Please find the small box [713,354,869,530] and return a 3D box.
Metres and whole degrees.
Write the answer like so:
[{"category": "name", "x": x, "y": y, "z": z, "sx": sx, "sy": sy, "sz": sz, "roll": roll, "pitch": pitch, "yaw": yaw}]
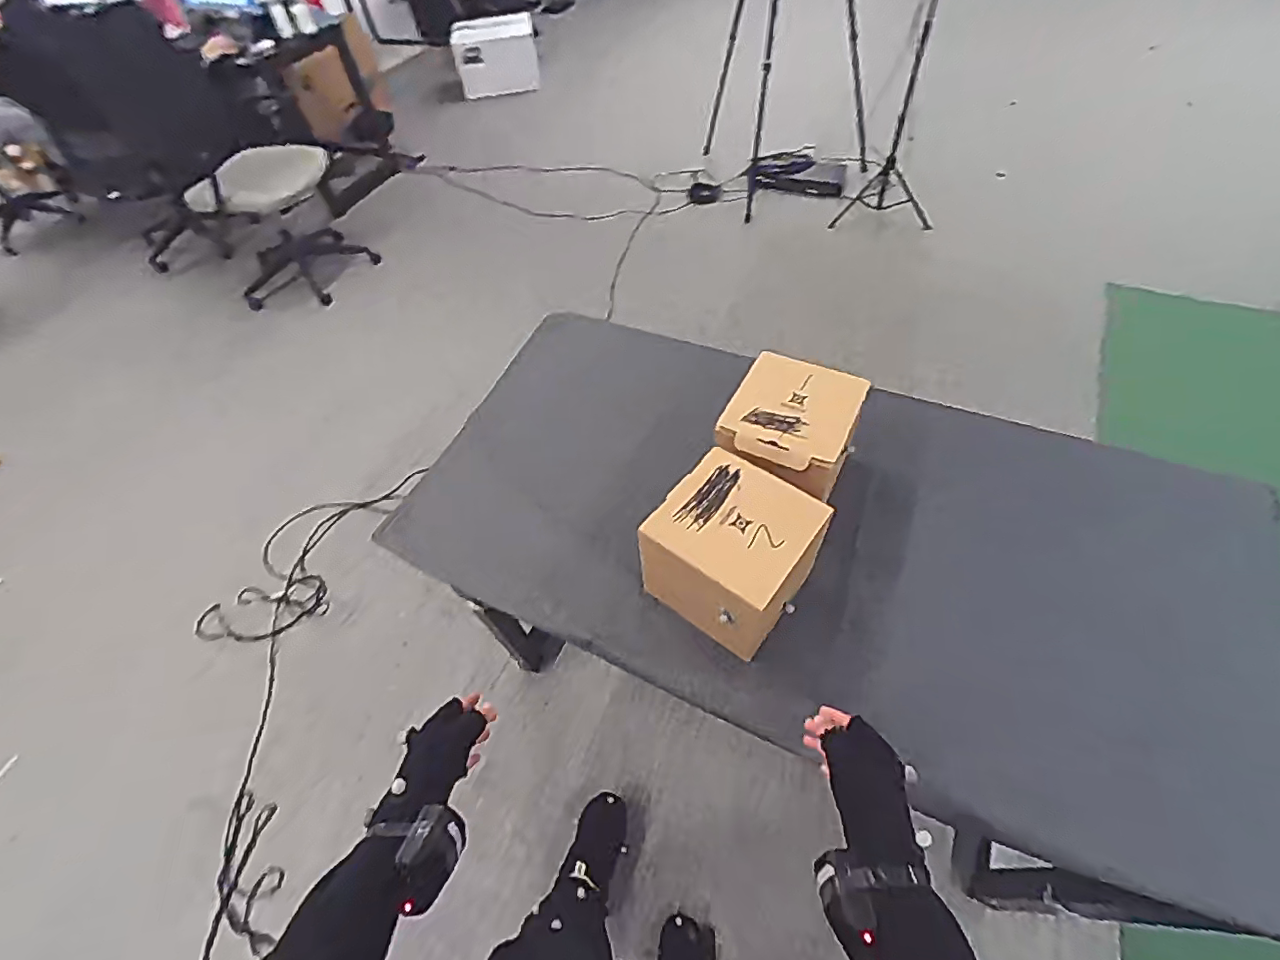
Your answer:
[{"category": "small box", "x": 0.221, "y": -0.054, "z": 0.817, "sx": 0.168, "sy": 0.176, "sz": 0.179, "roll": 22, "pitch": 58, "yaw": 21}]
